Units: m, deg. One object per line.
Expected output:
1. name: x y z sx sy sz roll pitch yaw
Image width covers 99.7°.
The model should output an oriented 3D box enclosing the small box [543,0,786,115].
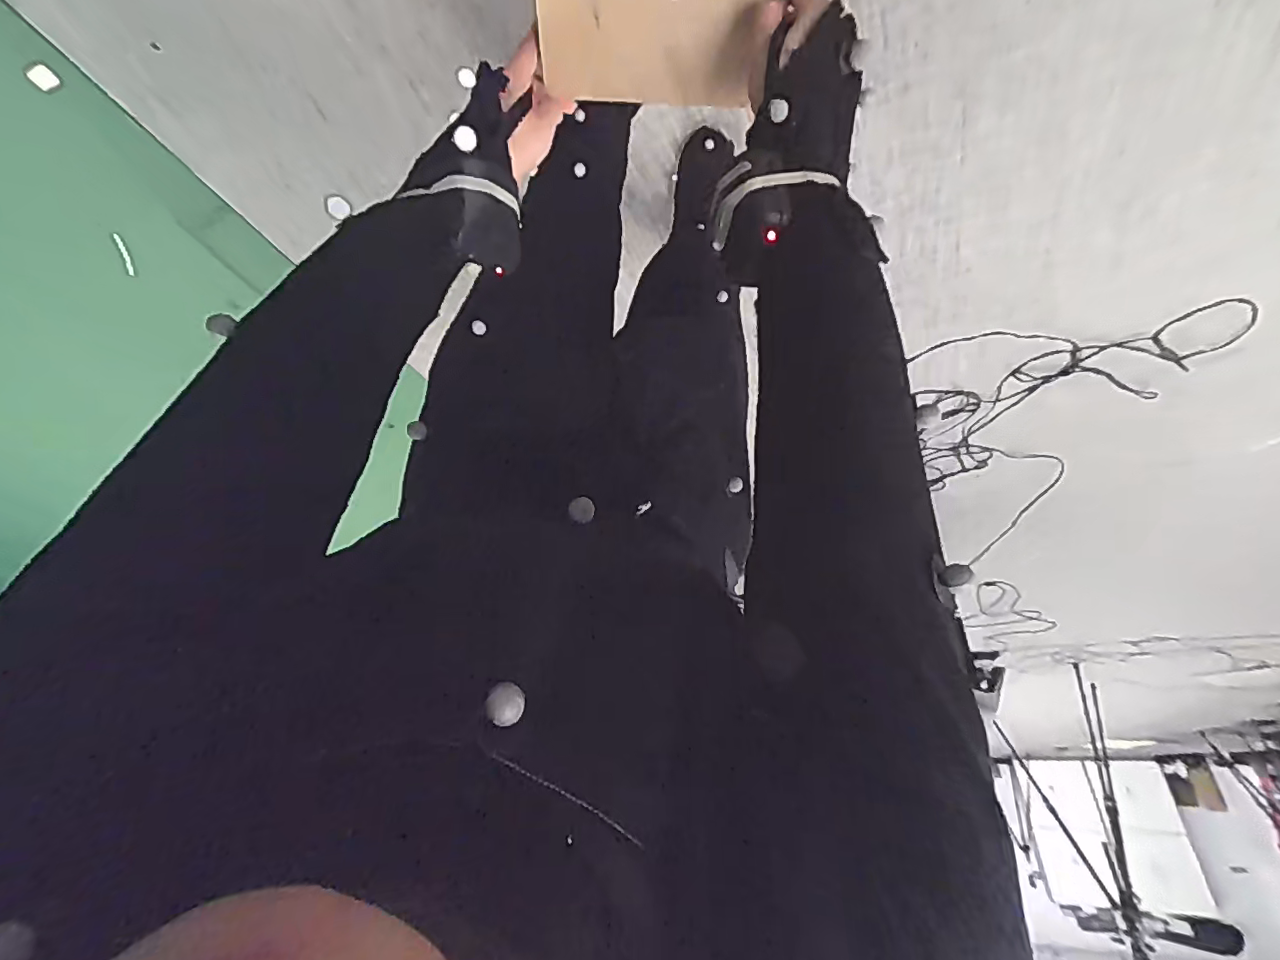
1. small box: 0.022 -0.410 0.426 0.179 0.176 0.168 4 137 1
